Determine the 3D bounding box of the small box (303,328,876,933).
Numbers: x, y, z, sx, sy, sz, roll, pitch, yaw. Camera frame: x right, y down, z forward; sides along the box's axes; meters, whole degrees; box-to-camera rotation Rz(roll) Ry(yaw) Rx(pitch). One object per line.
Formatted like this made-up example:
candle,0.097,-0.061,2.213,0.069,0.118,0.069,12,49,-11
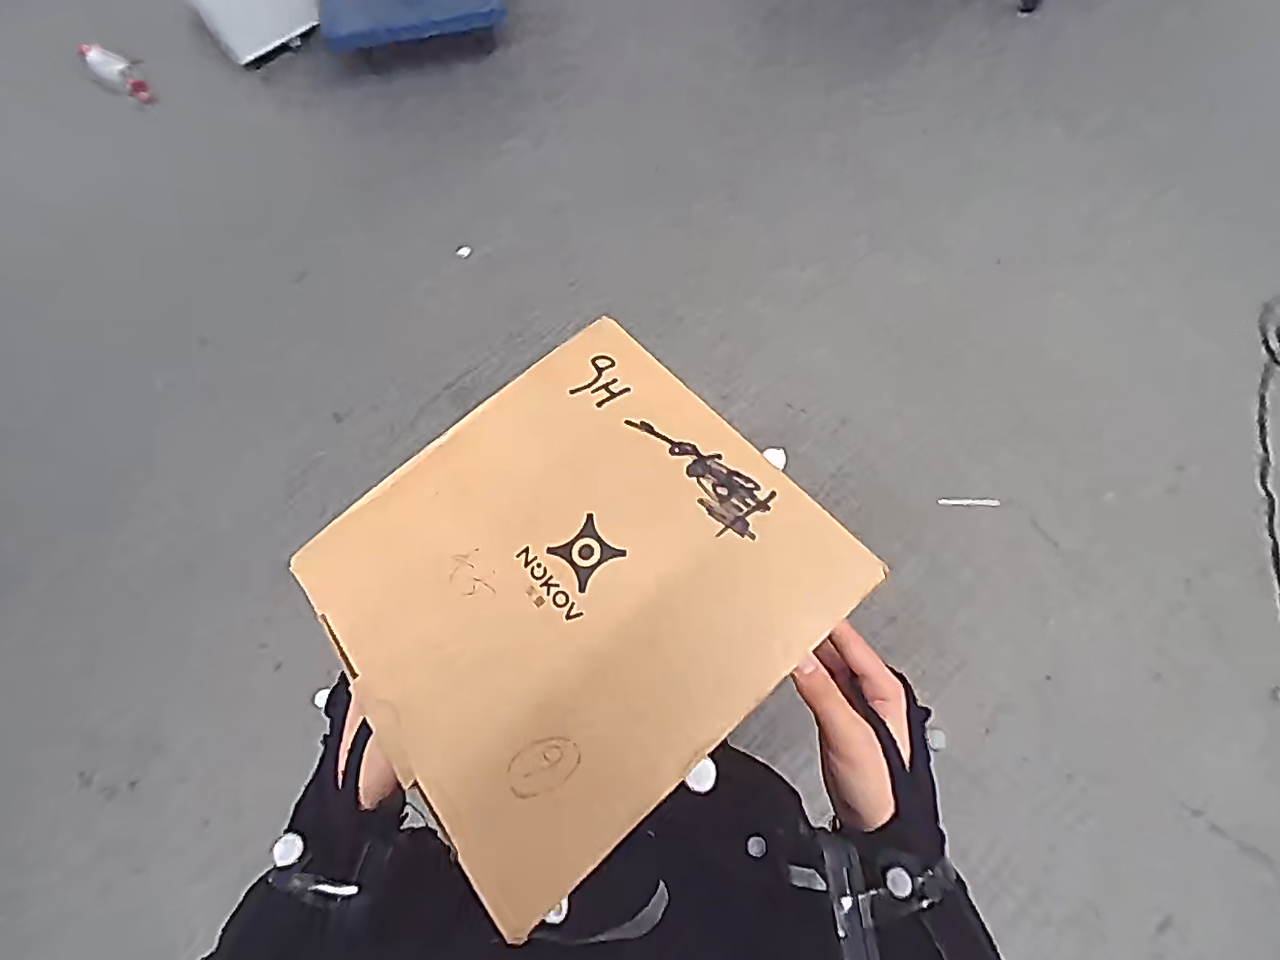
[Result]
small box,-0.017,0.066,0.283,0.179,0.176,0.168,-39,68,-9
